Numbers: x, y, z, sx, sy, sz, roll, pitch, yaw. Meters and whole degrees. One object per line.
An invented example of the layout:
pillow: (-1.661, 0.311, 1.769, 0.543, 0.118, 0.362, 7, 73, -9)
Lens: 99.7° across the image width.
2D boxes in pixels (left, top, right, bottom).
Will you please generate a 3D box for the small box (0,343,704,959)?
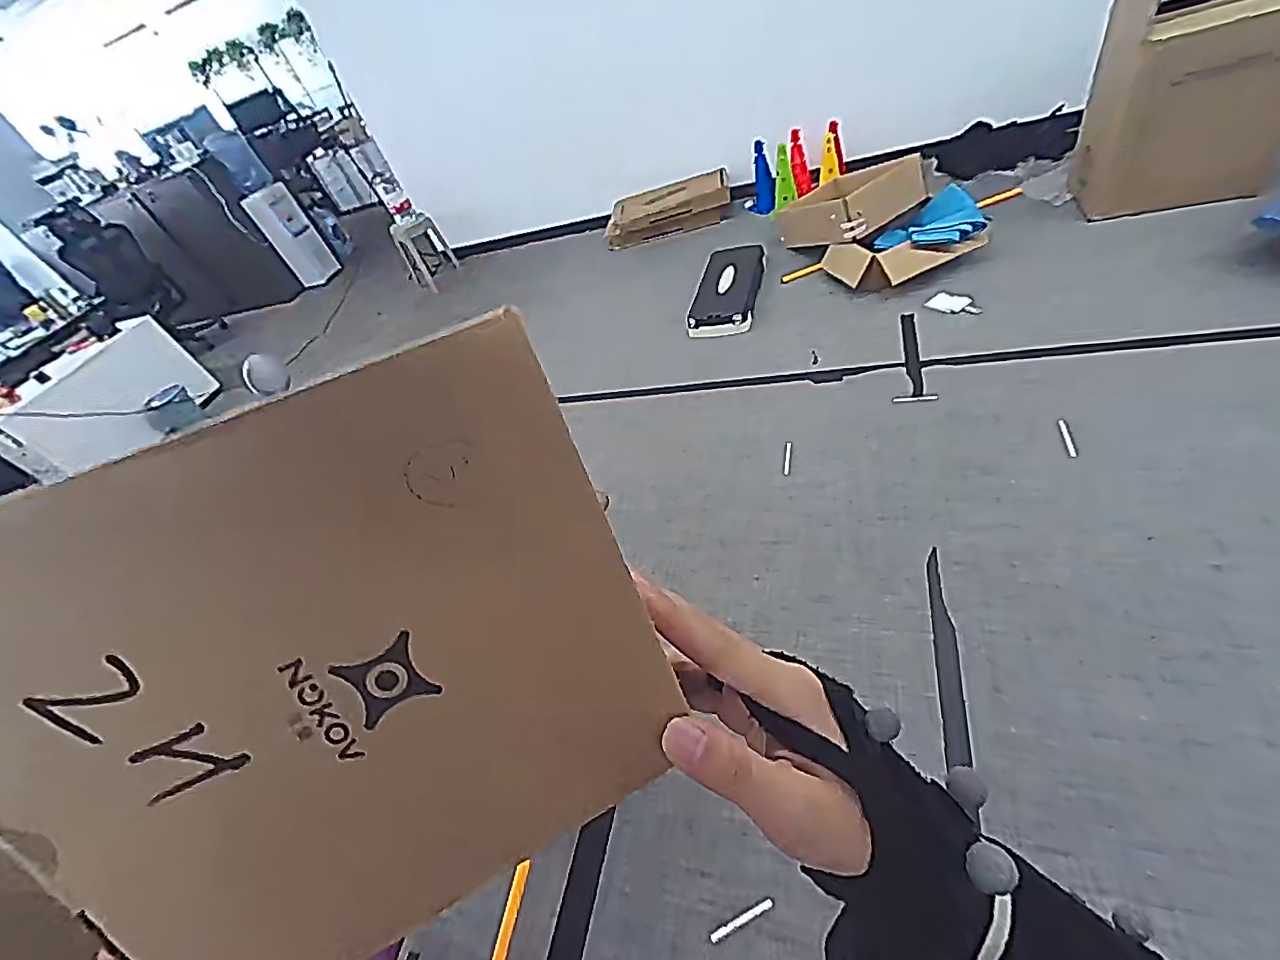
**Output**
small box: (-0.103, 0.051, 0.240, 0.179, 0.168, 0.176, -25, 15, -12)
